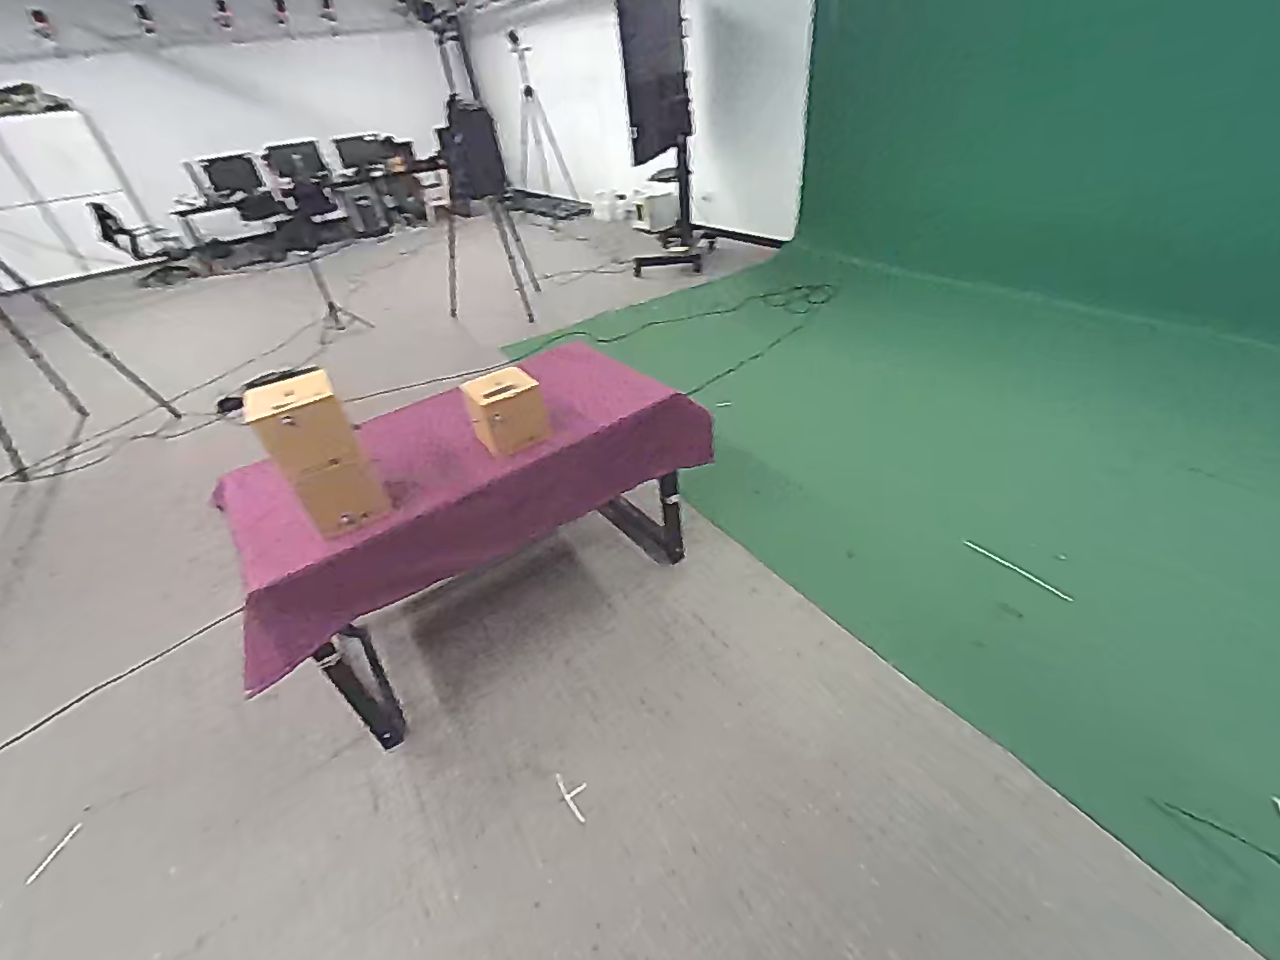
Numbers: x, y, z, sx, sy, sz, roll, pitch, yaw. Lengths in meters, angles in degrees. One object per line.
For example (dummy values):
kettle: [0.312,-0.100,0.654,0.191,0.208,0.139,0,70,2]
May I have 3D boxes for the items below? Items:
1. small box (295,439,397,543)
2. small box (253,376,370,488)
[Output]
small box: [-0.717,0.023,1.317,0.168,0.176,0.179,-25,40,-21]
small box: [-0.737,-0.108,1.219,0.168,0.176,0.179,-26,39,-21]
